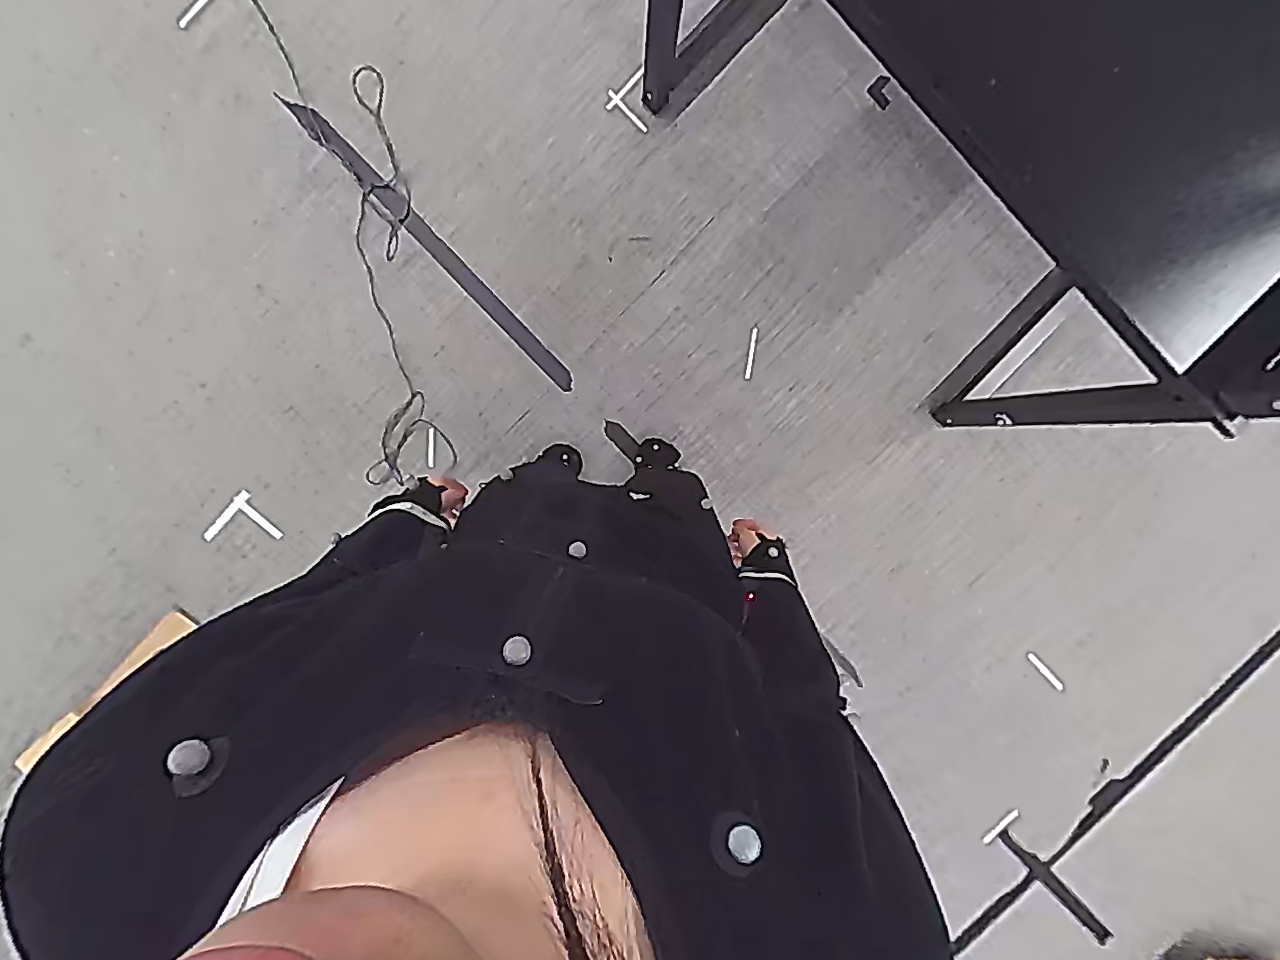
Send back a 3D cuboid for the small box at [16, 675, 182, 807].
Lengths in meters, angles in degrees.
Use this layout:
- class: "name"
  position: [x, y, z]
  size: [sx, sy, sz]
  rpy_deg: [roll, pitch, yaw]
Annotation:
- class: "small box"
  position: [-1.232, 0.592, 1.248]
  size: [0.179, 0.176, 0.168]
  rpy_deg: [-42, 96, 1]
